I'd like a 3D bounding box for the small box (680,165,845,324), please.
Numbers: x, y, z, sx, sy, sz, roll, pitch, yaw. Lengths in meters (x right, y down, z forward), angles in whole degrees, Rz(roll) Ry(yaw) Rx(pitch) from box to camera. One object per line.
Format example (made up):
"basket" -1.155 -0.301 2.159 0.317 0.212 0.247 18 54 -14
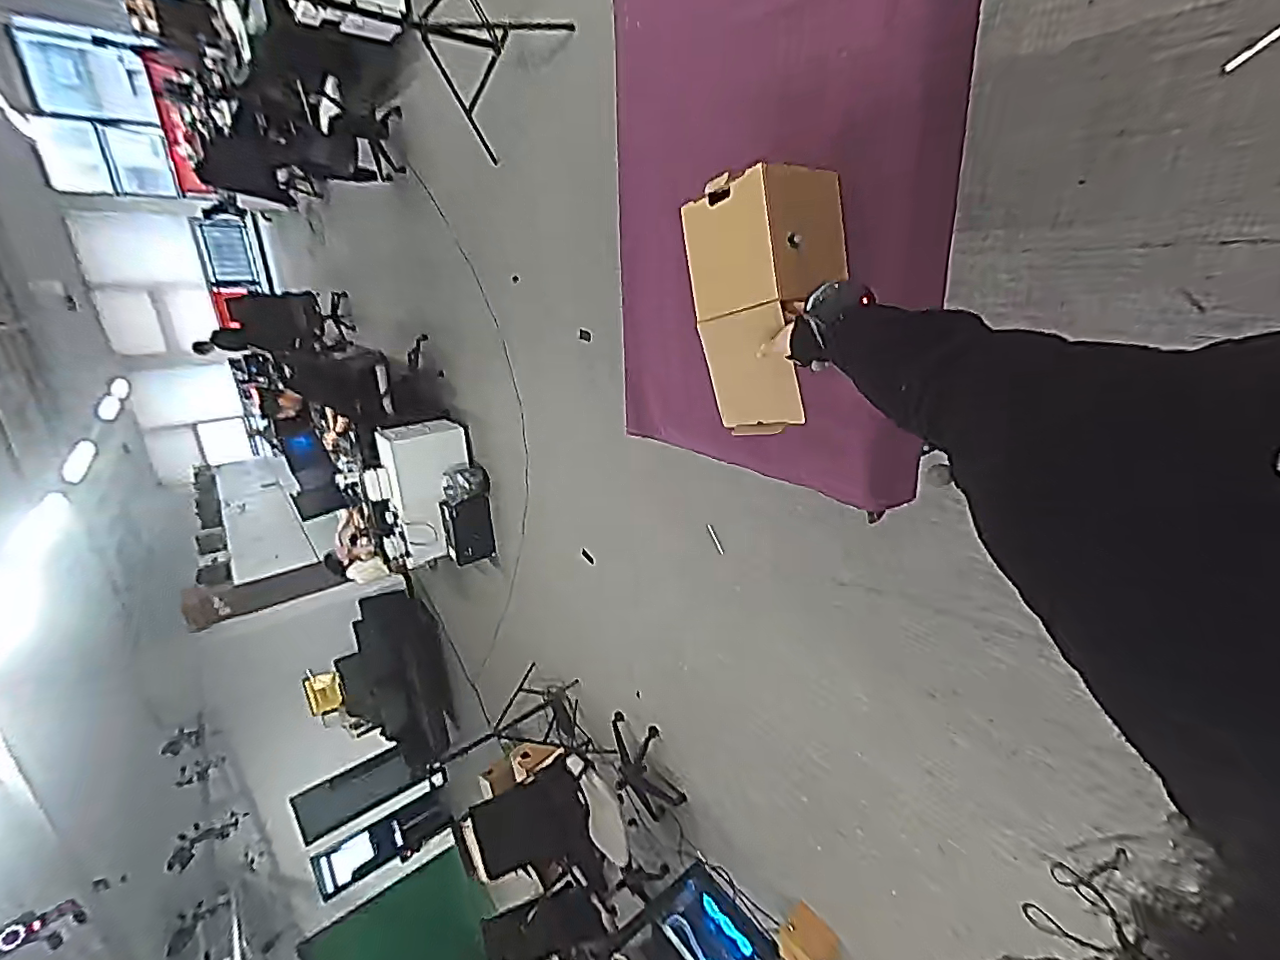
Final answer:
"small box" 0.187 -0.343 0.809 0.168 0.176 0.179 4 107 54
